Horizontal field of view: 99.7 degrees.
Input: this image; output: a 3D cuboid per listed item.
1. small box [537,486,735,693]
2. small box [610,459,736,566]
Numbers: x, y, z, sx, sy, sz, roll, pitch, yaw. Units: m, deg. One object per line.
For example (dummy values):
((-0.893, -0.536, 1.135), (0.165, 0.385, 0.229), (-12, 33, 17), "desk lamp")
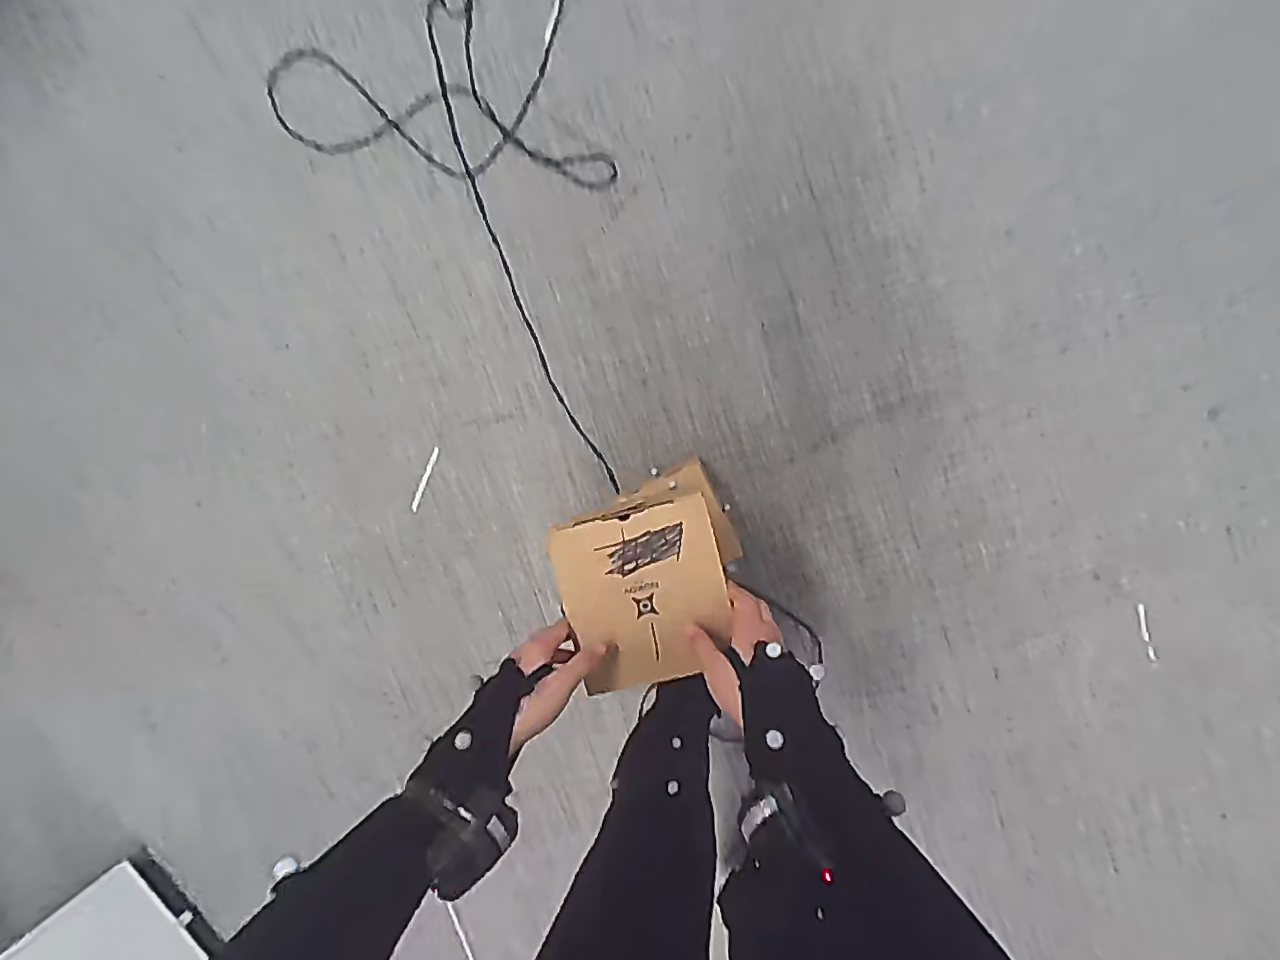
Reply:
((0.001, 0.107, 0.607), (0.168, 0.176, 0.179), (-14, 92, 6), "small box")
((0.060, 0.075, 0.976), (0.168, 0.176, 0.179), (-27, 92, 8), "small box")
